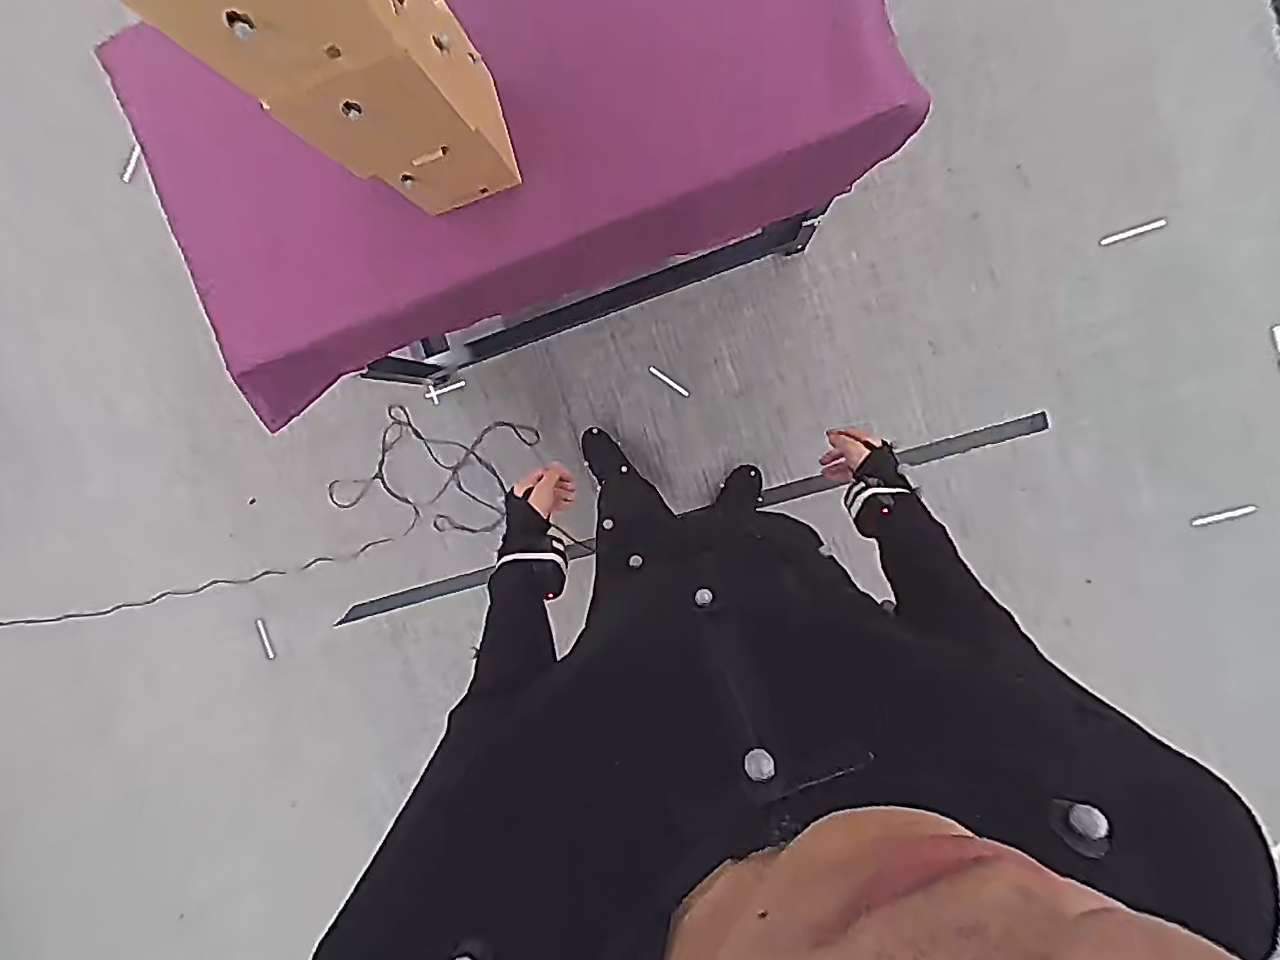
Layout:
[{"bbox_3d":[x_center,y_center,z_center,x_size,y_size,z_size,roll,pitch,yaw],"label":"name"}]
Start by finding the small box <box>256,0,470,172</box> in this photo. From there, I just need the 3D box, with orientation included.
[{"bbox_3d":[-0.334,-0.505,0.644,0.179,0.176,0.168,-15,94,8],"label":"small box"}]

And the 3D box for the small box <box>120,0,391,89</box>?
[{"bbox_3d":[-0.357,-0.496,0.483,0.168,0.176,0.179,-16,93,9],"label":"small box"}]
